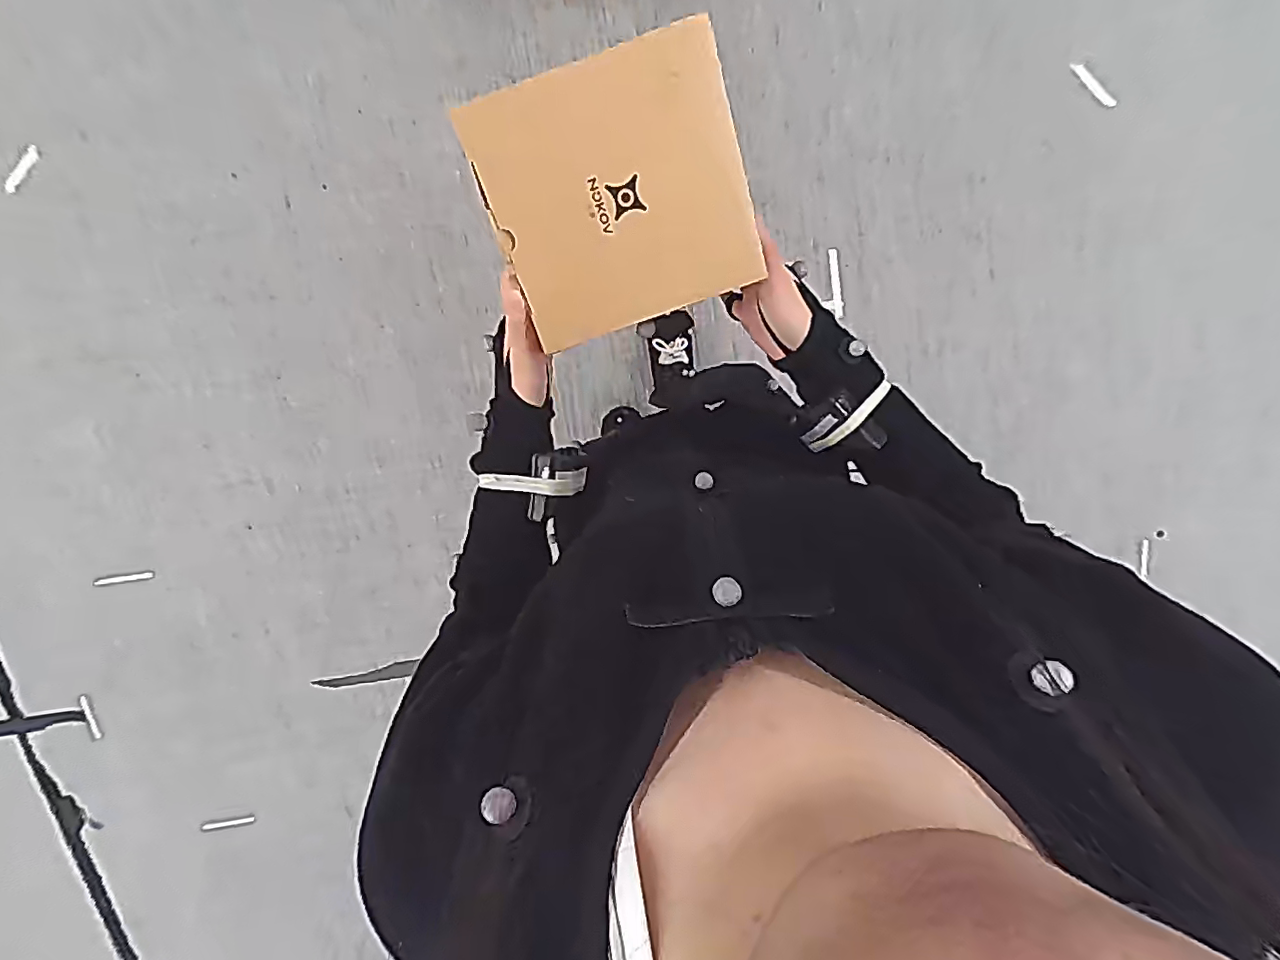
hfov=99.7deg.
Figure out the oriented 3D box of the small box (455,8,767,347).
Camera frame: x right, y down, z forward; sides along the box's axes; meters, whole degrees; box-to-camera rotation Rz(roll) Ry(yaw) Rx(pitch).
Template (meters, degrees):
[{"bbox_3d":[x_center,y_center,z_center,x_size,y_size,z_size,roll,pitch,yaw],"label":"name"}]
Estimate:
[{"bbox_3d":[-0.019,-0.226,0.441,0.179,0.176,0.168,-19,112,4],"label":"small box"}]
